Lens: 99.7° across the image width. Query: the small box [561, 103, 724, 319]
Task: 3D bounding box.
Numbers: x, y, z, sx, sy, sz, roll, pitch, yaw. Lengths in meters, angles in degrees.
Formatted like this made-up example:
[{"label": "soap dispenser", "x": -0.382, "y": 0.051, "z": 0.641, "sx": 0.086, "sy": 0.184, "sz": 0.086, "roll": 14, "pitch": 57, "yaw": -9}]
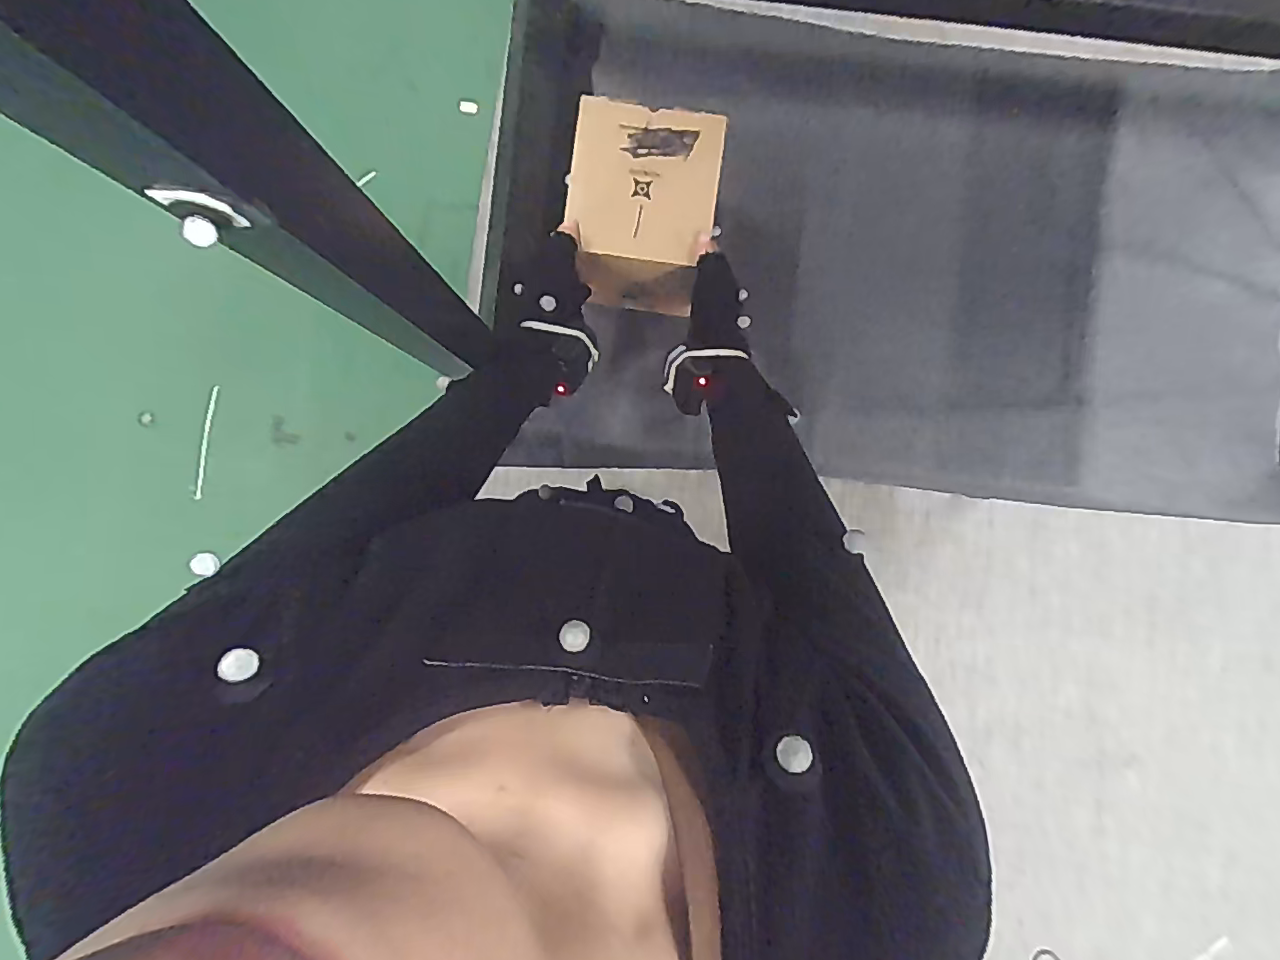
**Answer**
[{"label": "small box", "x": 0.002, "y": -0.323, "z": 0.683, "sx": 0.168, "sy": 0.176, "sz": 0.179, "roll": 7, "pitch": 89, "yaw": 0}]
